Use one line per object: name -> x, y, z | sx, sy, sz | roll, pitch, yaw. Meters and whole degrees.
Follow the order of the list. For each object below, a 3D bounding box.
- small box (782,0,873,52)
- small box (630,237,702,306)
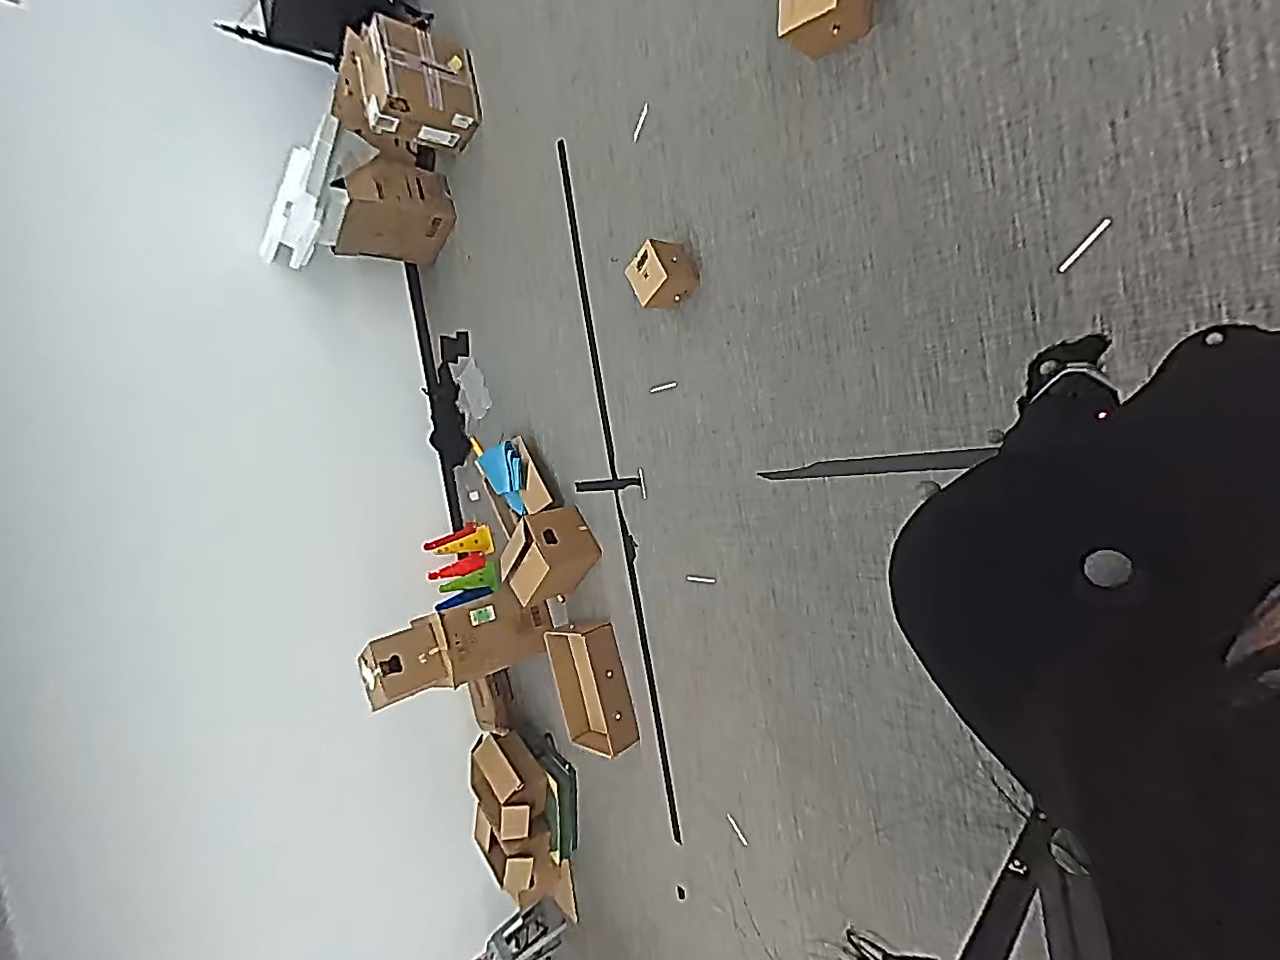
small box -> 0.497, -1.269, 1.411 | 0.179, 0.176, 0.168 | 13, 107, 49
small box -> 0.097, -0.762, 1.998 | 0.168, 0.176, 0.179 | -40, 69, 47
